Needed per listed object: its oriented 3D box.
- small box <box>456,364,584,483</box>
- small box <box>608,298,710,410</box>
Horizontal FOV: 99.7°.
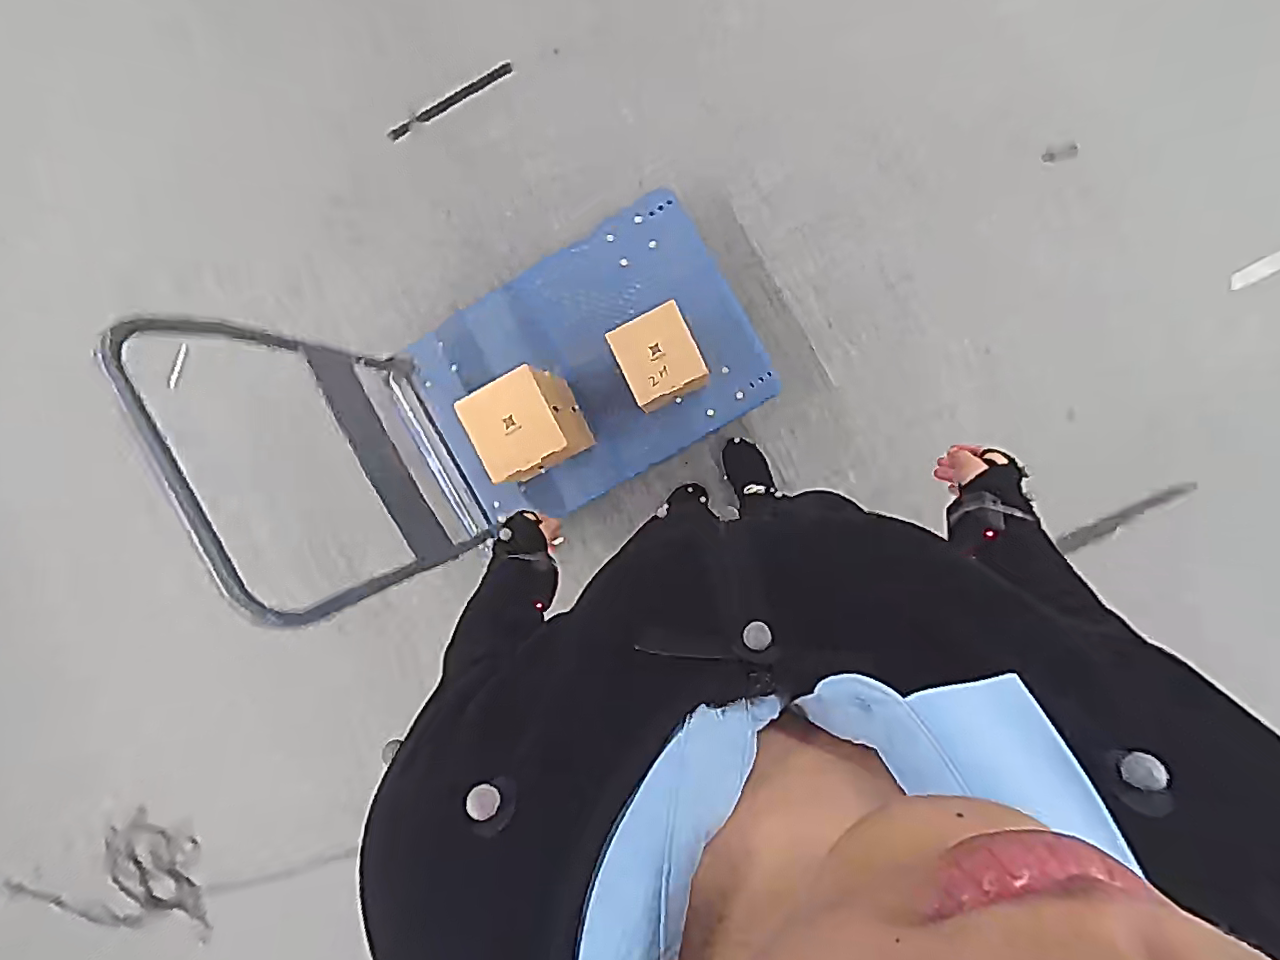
[{"bbox_3d":[-0.232,-0.107,1.092,0.168,0.176,0.179,-28,90,6],"label":"small box"},{"bbox_3d":[0.045,-0.274,1.219,0.168,0.176,0.179,-26,89,7],"label":"small box"}]
